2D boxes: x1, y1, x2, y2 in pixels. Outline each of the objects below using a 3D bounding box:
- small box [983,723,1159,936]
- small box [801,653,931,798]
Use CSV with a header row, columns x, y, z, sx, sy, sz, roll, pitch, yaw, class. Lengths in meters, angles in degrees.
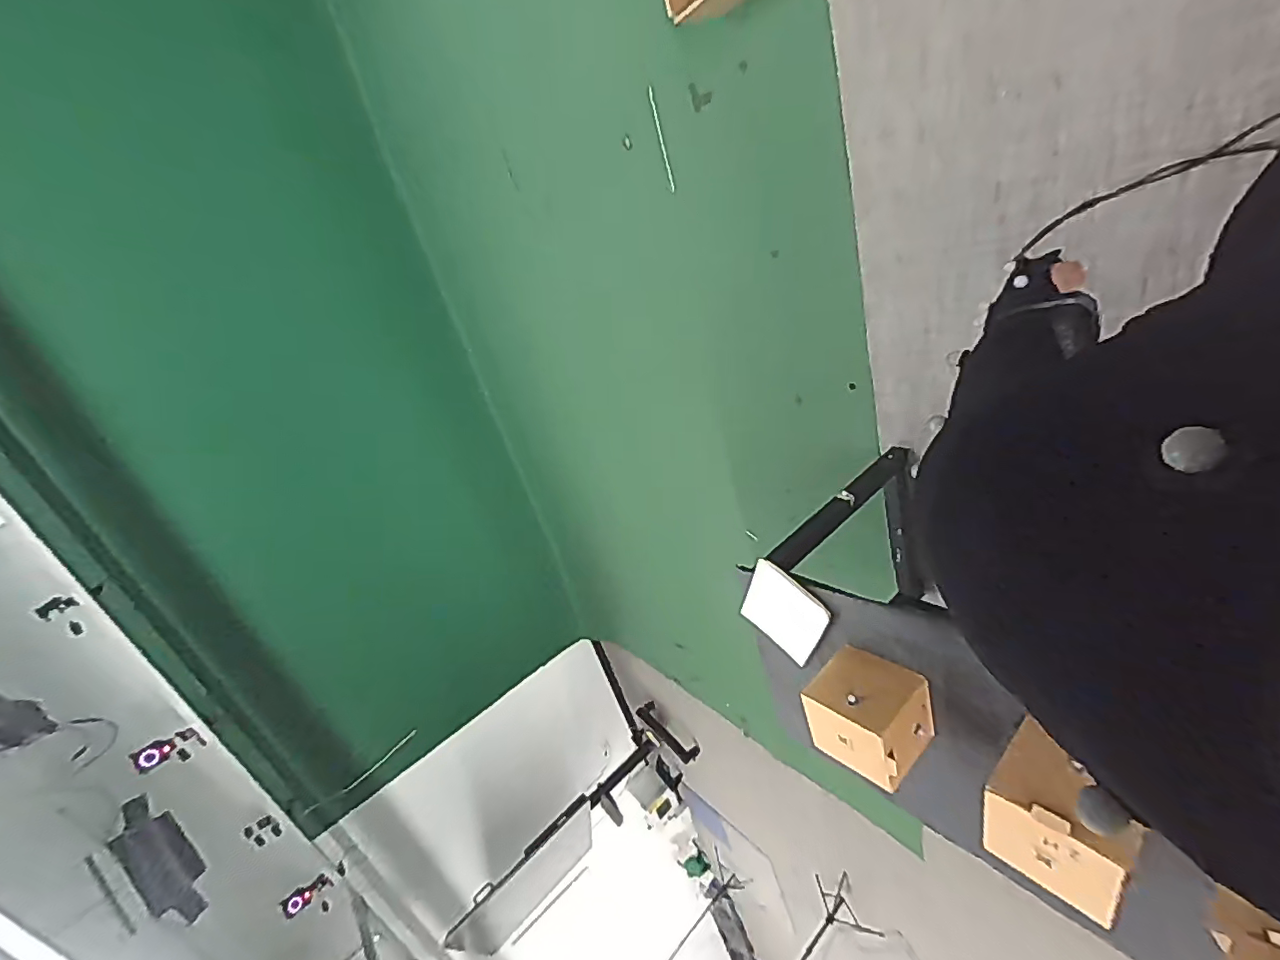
x,y,z,sx,sy,sz,roll,pitch,yaw,class
0.652,0.521,0.826,0.168,0.176,0.179,18,132,48,small box
0.456,0.480,1.090,0.179,0.176,0.168,13,129,51,small box
